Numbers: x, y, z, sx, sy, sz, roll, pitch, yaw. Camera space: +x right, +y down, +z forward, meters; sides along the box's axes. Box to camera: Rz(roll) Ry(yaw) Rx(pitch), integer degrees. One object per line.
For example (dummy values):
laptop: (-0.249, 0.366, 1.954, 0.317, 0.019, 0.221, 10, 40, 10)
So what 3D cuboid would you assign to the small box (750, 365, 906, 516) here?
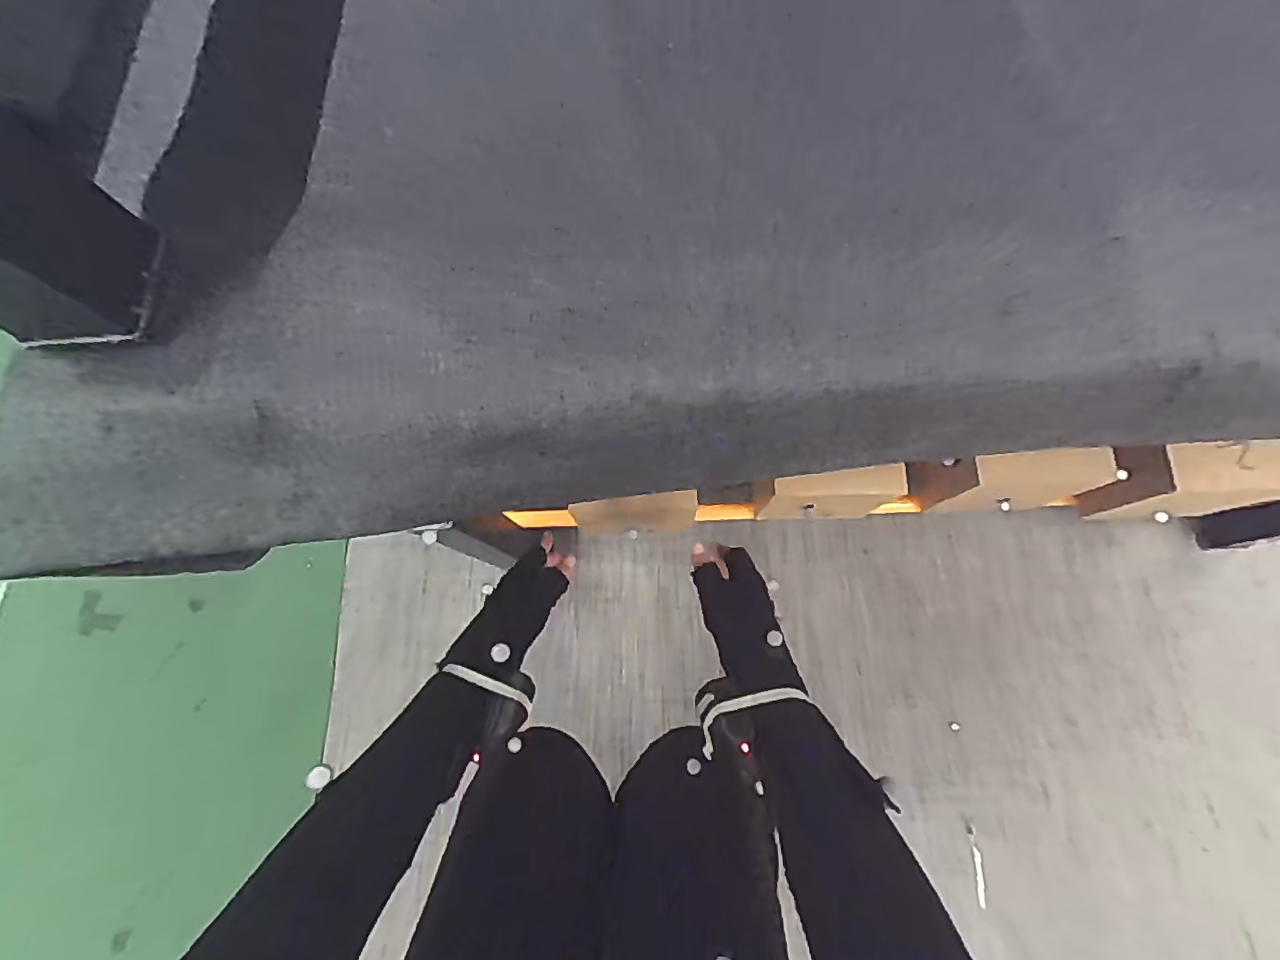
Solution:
small box: (0.254, -0.046, 0.771, 0.168, 0.176, 0.179, -1, 74, 3)

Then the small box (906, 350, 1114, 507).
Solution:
small box: (0.498, -0.061, 0.759, 0.168, 0.176, 0.179, -3, 74, 4)
